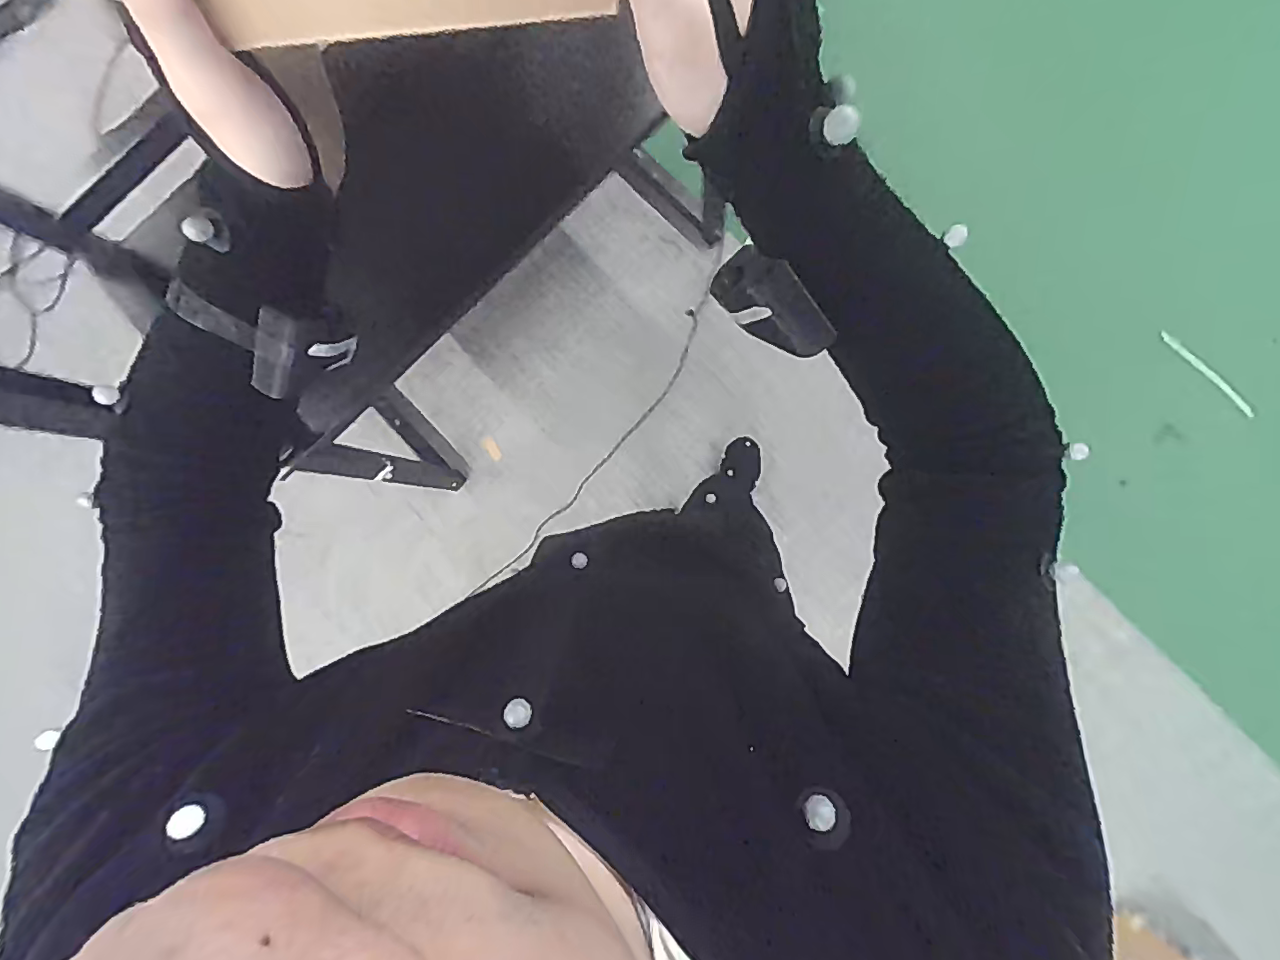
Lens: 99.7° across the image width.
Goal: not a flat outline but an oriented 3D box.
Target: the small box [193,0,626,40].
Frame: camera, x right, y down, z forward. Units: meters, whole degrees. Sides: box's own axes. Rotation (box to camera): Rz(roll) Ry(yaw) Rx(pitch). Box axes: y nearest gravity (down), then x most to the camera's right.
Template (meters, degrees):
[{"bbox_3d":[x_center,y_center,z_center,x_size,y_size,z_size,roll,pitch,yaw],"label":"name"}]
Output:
[{"bbox_3d":[-0.088,-0.281,0.159,0.168,0.179,0.176,2,68,6],"label":"small box"}]
